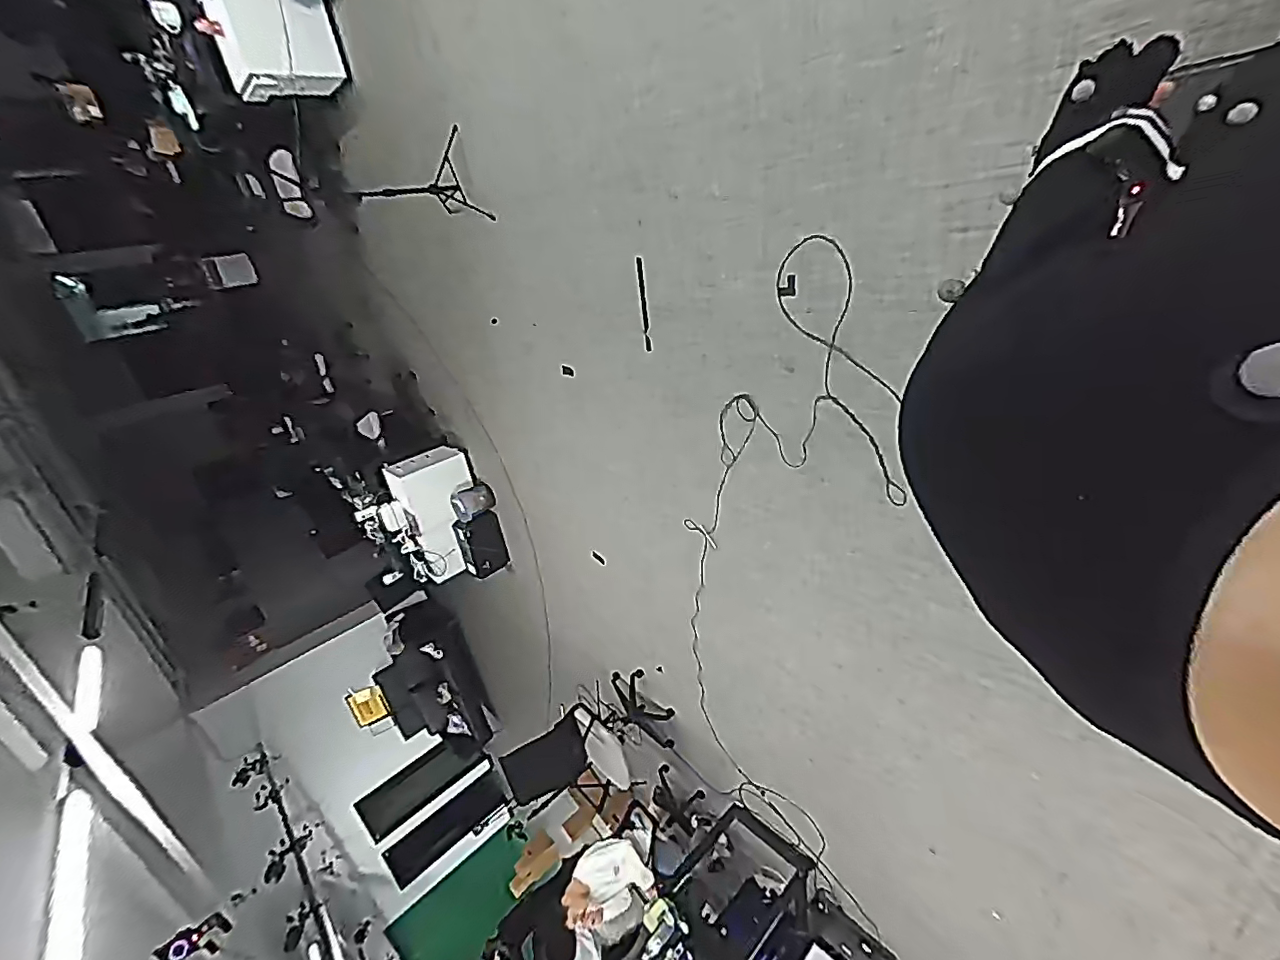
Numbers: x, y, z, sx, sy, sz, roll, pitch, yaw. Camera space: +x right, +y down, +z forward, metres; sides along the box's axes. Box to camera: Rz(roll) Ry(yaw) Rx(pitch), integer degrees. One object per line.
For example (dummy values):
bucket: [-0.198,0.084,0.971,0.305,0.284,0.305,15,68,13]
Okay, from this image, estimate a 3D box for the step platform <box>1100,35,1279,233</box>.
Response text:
step platform: [1.186,-0.589,0.866,0.684,0.204,0.286,16,125,44]
